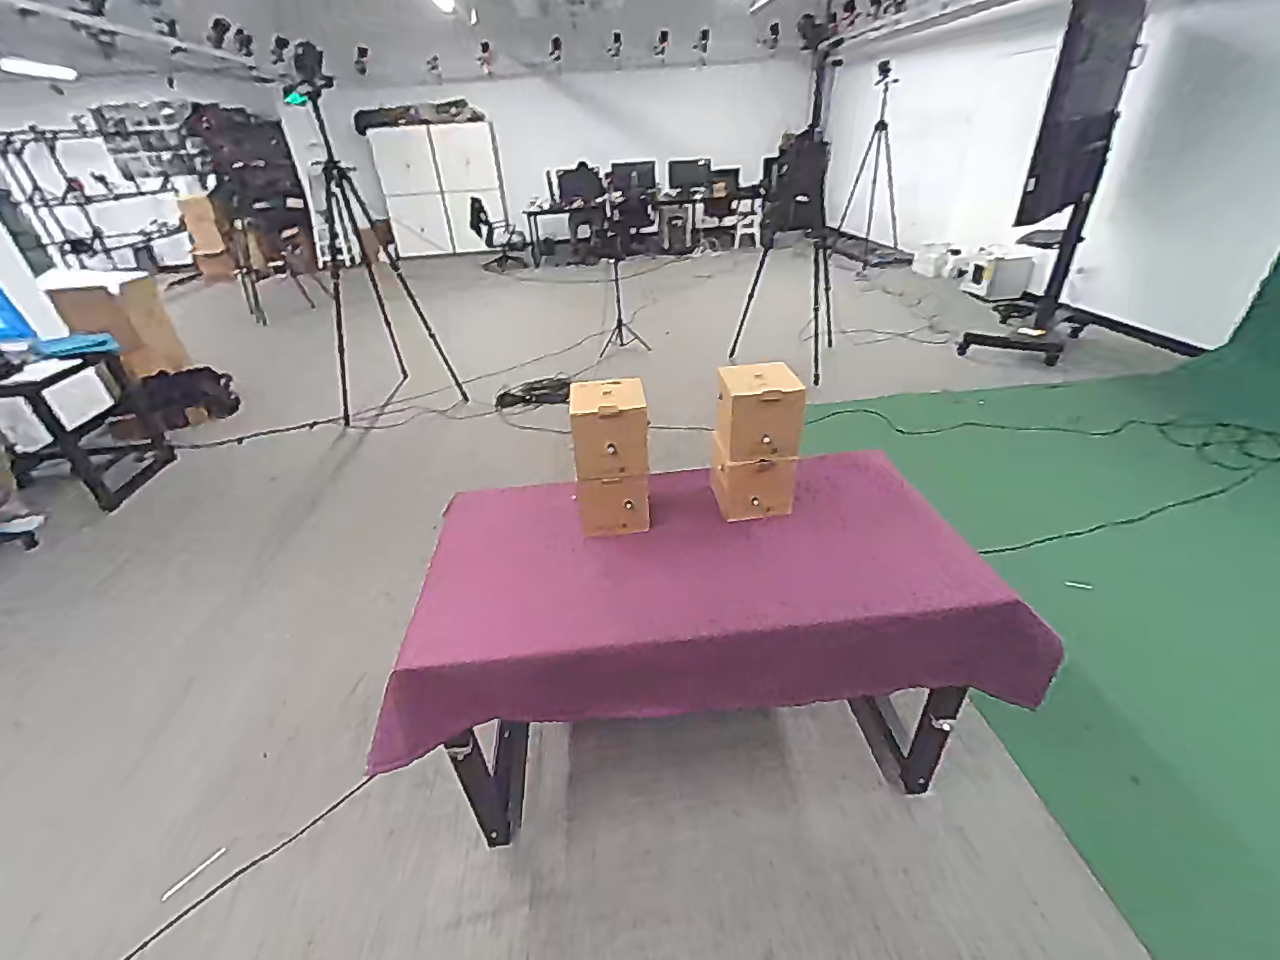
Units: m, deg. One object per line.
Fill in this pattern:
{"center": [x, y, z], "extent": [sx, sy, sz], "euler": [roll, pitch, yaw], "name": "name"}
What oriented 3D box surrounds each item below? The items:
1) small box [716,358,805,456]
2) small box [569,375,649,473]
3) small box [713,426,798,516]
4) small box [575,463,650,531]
{"center": [0.275, -0.173, 1.275], "extent": [0.168, 0.176, 0.179], "euler": [-6, 34, -2], "name": "small box"}
{"center": [-0.070, -0.124, 1.244], "extent": [0.168, 0.176, 0.179], "euler": [-5, 33, -3], "name": "small box"}
{"center": [0.280, -0.031, 1.358], "extent": [0.168, 0.176, 0.179], "euler": [-7, 34, -4], "name": "small box"}
{"center": [-0.066, 0.013, 1.335], "extent": [0.168, 0.176, 0.179], "euler": [-5, 33, -3], "name": "small box"}
